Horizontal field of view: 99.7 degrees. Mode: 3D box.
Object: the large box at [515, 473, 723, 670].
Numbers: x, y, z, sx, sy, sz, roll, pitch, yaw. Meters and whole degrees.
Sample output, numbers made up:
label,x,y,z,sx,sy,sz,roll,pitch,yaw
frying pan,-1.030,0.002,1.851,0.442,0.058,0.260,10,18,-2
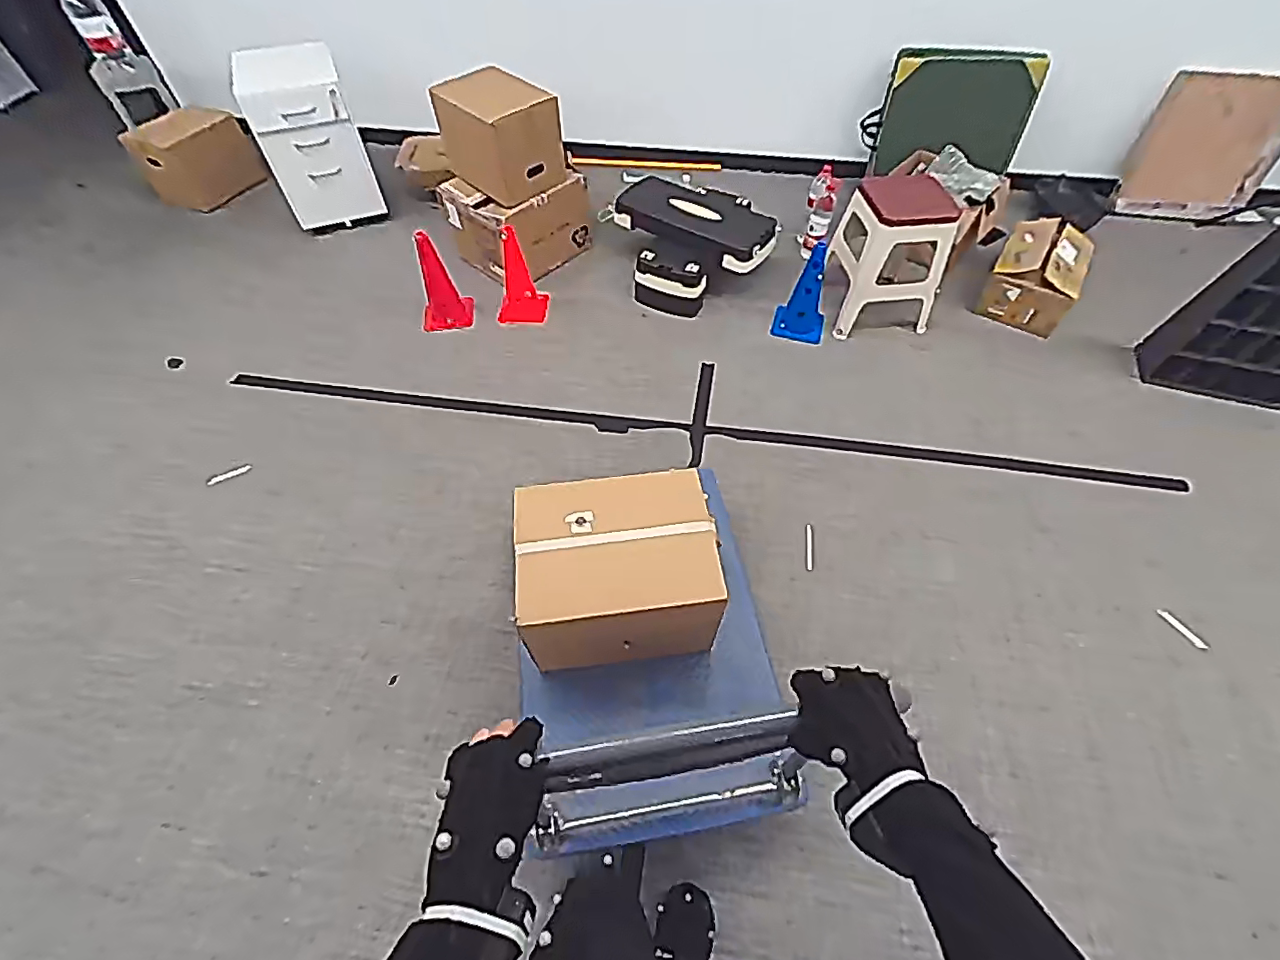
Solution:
label,x,y,z,sx,sy,sz,roll,pitch,yaw
large box,-0.052,0.216,1.235,0.408,0.320,0.320,-7,55,-4
